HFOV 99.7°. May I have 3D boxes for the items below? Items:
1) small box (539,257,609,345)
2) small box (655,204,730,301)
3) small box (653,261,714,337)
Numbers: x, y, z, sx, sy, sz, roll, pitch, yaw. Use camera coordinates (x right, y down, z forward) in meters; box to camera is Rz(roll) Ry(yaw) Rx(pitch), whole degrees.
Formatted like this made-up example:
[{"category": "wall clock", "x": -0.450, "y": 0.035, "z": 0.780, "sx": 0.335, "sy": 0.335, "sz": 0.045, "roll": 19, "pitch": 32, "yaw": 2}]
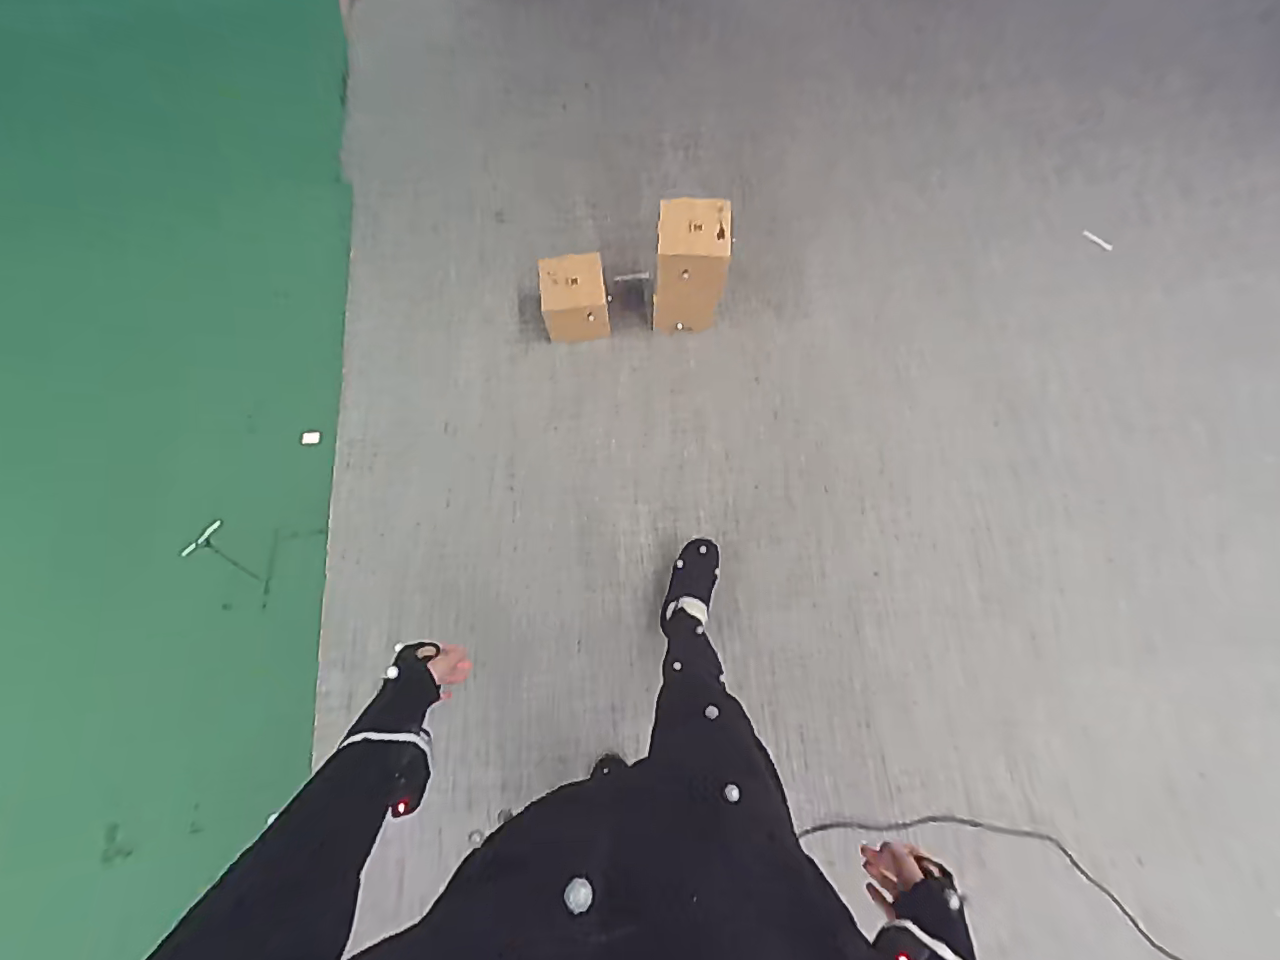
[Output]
[{"category": "small box", "x": -0.182, "y": -0.504, "z": 1.541, "sx": 0.179, "sy": 0.176, "sz": 0.168, "roll": -7, "pitch": 73, "yaw": 0}, {"category": "small box", "x": 0.133, "y": -0.576, "z": 1.382, "sx": 0.179, "sy": 0.176, "sz": 0.168, "roll": 3, "pitch": 74, "yaw": 4}, {"category": "small box", "x": 0.123, "y": -0.531, "z": 1.541, "sx": 0.168, "sy": 0.176, "sz": 0.179, "roll": 3, "pitch": 74, "yaw": 3}]
